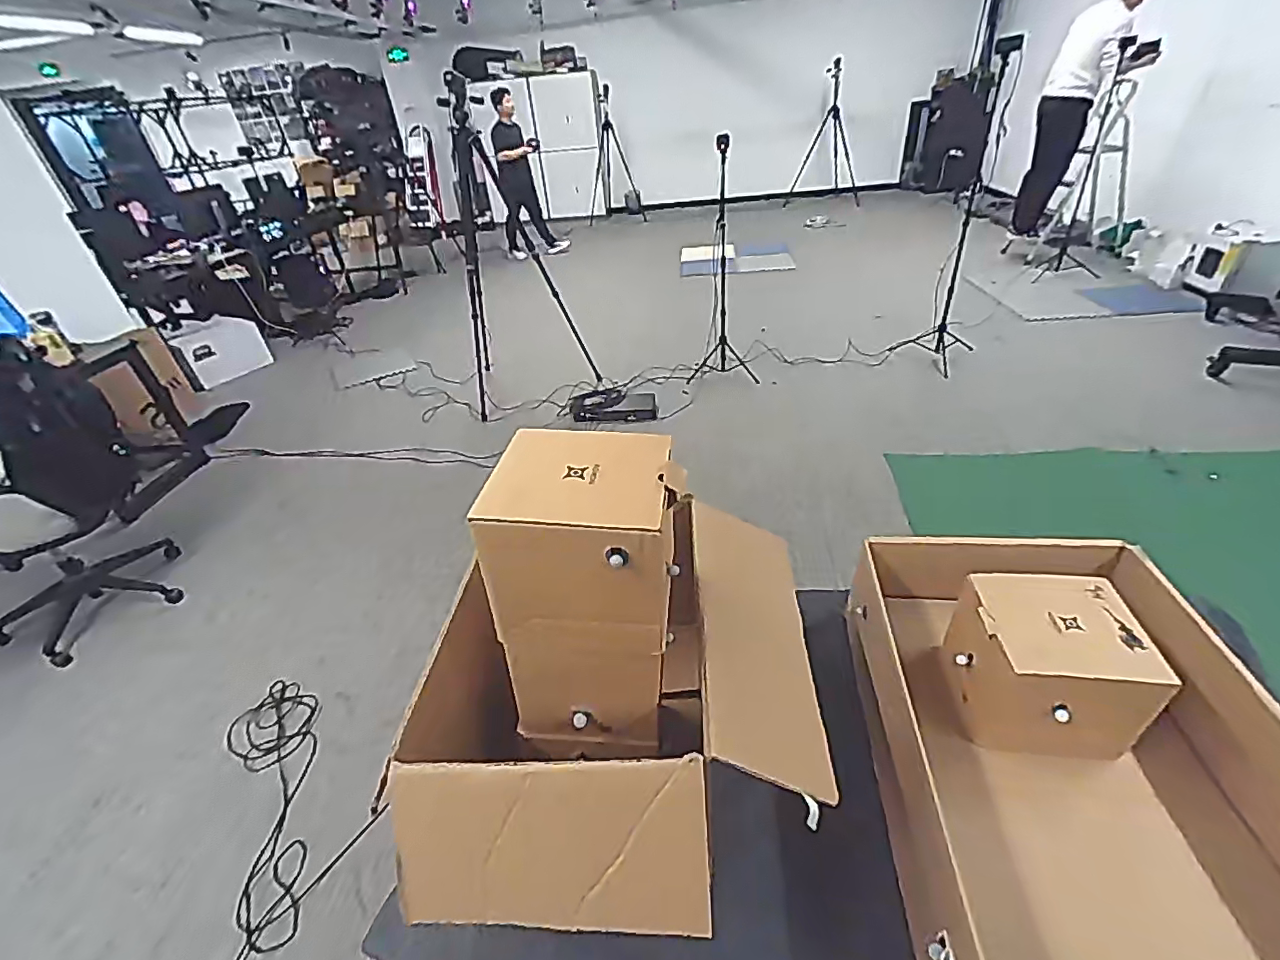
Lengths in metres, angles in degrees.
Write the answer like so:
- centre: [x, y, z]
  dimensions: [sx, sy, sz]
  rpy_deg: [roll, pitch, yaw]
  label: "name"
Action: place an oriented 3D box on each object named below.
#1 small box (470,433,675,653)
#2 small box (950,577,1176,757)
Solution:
- centre: [-0.055, 0.064, 0.576]
  dimensions: [0.179, 0.176, 0.168]
  rpy_deg: [3, 34, 5]
  label: "small box"
- centre: [0.542, 0.250, 0.731]
  dimensions: [0.179, 0.176, 0.168]
  rpy_deg: [-1, 37, 11]
  label: "small box"
